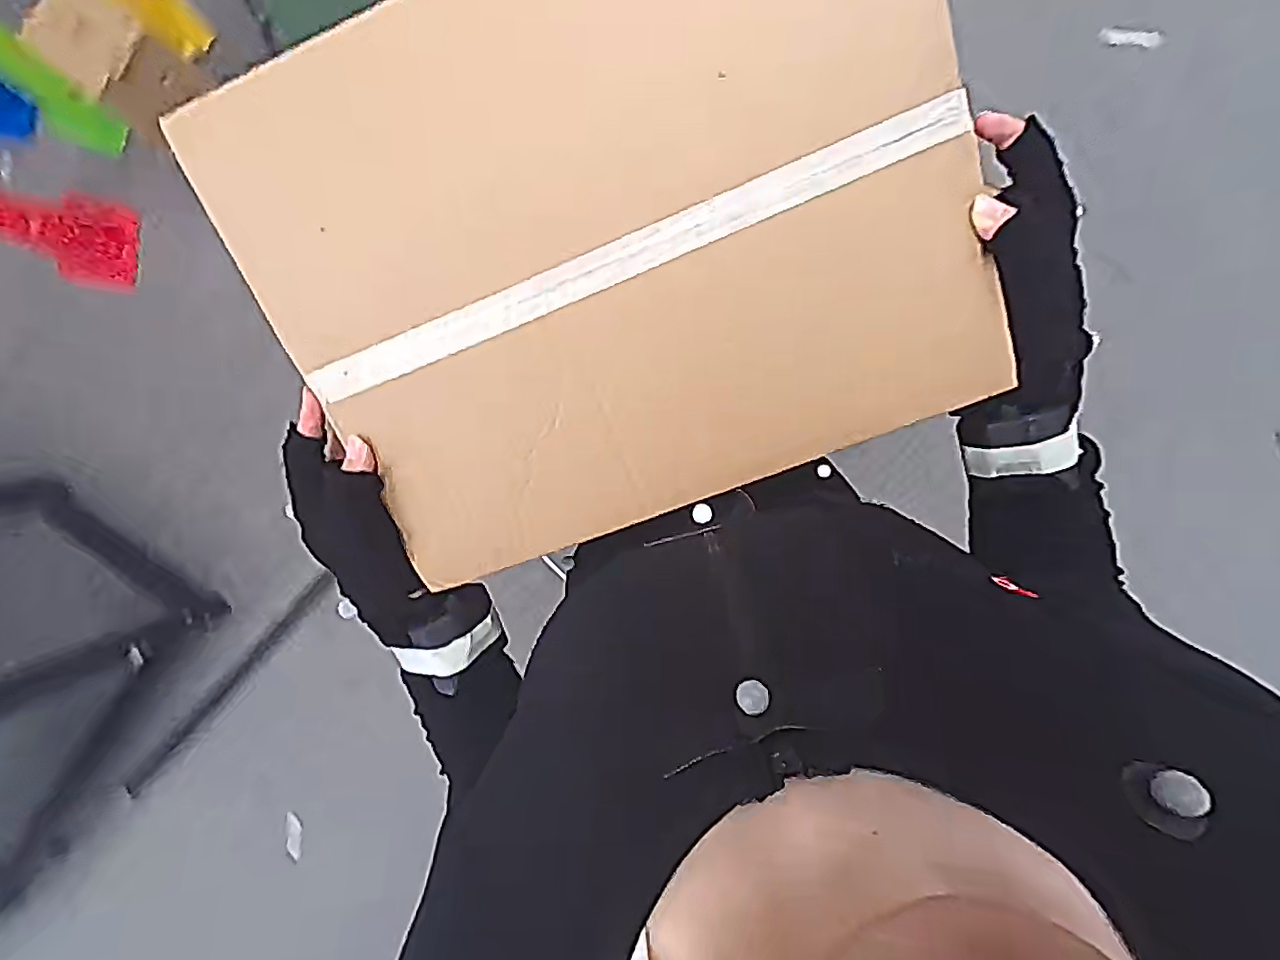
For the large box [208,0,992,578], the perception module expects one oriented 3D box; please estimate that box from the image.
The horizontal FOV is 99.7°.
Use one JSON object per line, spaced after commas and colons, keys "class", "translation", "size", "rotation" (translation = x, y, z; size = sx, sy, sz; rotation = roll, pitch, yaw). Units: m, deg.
{"class": "large box", "translation": [-0.007, -0.175, 0.466], "size": [0.408, 0.320, 0.320], "rotation": [-19, 106, 8]}
